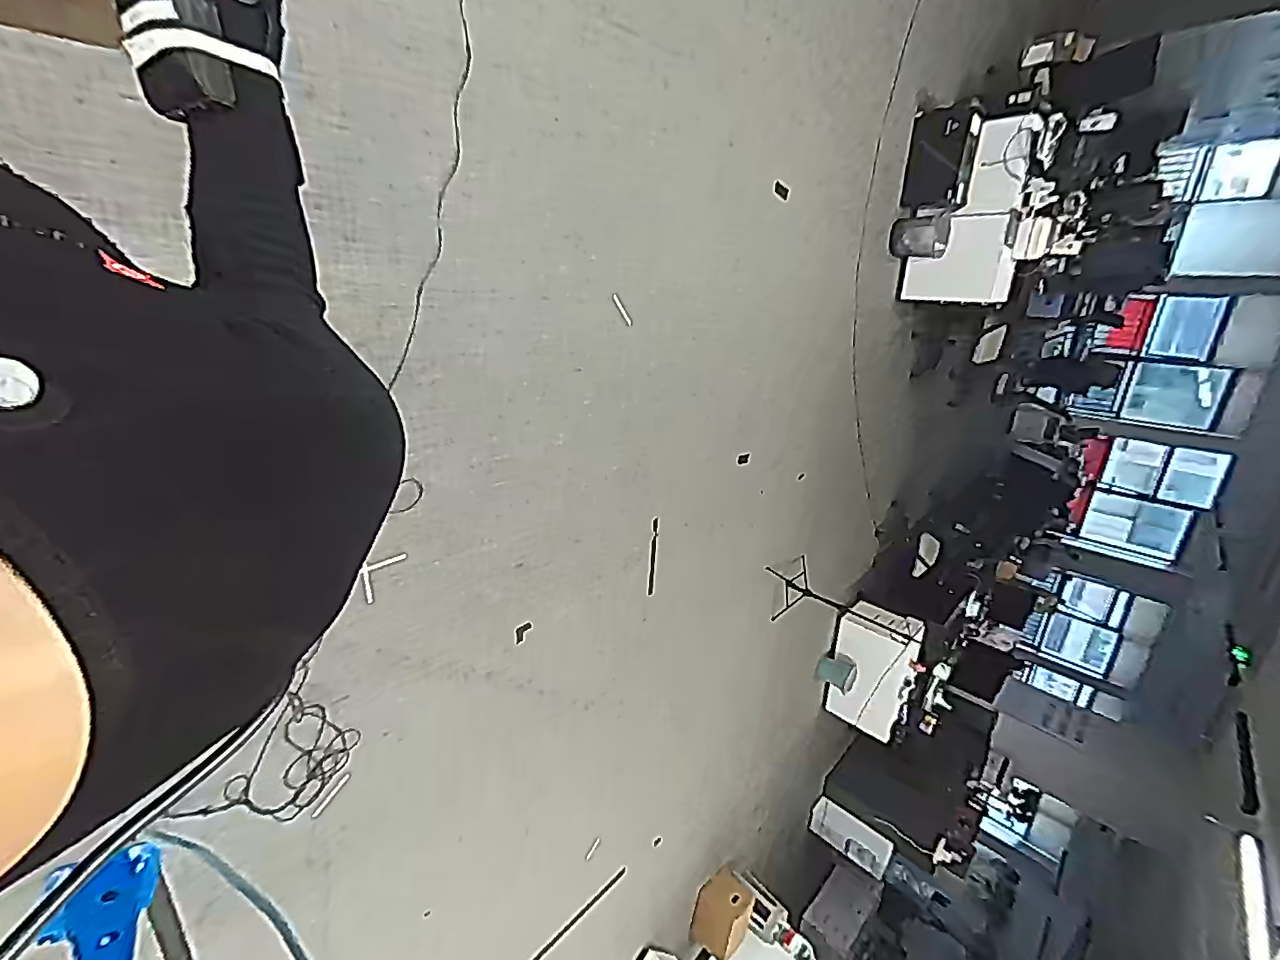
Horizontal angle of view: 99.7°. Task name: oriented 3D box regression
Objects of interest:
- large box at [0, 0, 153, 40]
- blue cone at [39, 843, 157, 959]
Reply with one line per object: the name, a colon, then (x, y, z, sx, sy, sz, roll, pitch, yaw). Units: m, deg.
large box: (-0.547, -0.476, 0.261, 0.408, 0.320, 0.320, -20, 127, -44)
blue cone: (-1.181, 1.023, 1.191, 0.193, 0.380, 0.192, 12, 97, -48)
